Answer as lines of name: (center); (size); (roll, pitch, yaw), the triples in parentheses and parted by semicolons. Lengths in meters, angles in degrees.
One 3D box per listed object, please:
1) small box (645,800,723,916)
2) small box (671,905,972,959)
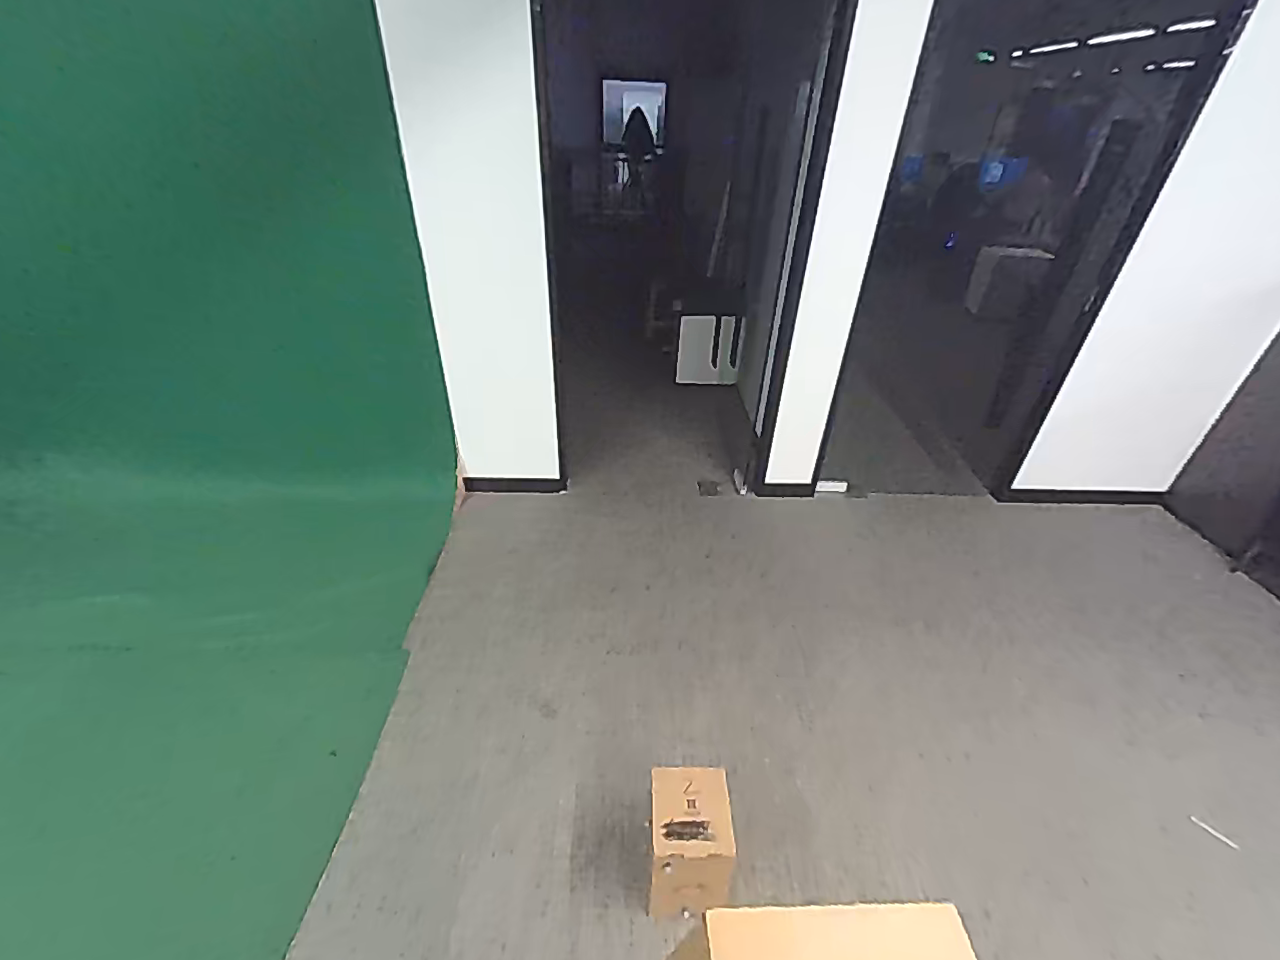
small box: (0.096, 0.886, 1.271); (0.168, 0.176, 0.179); (2, 35, 0)
small box: (0.108, 0.381, 0.318); (0.168, 0.176, 0.179); (6, 41, -9)
